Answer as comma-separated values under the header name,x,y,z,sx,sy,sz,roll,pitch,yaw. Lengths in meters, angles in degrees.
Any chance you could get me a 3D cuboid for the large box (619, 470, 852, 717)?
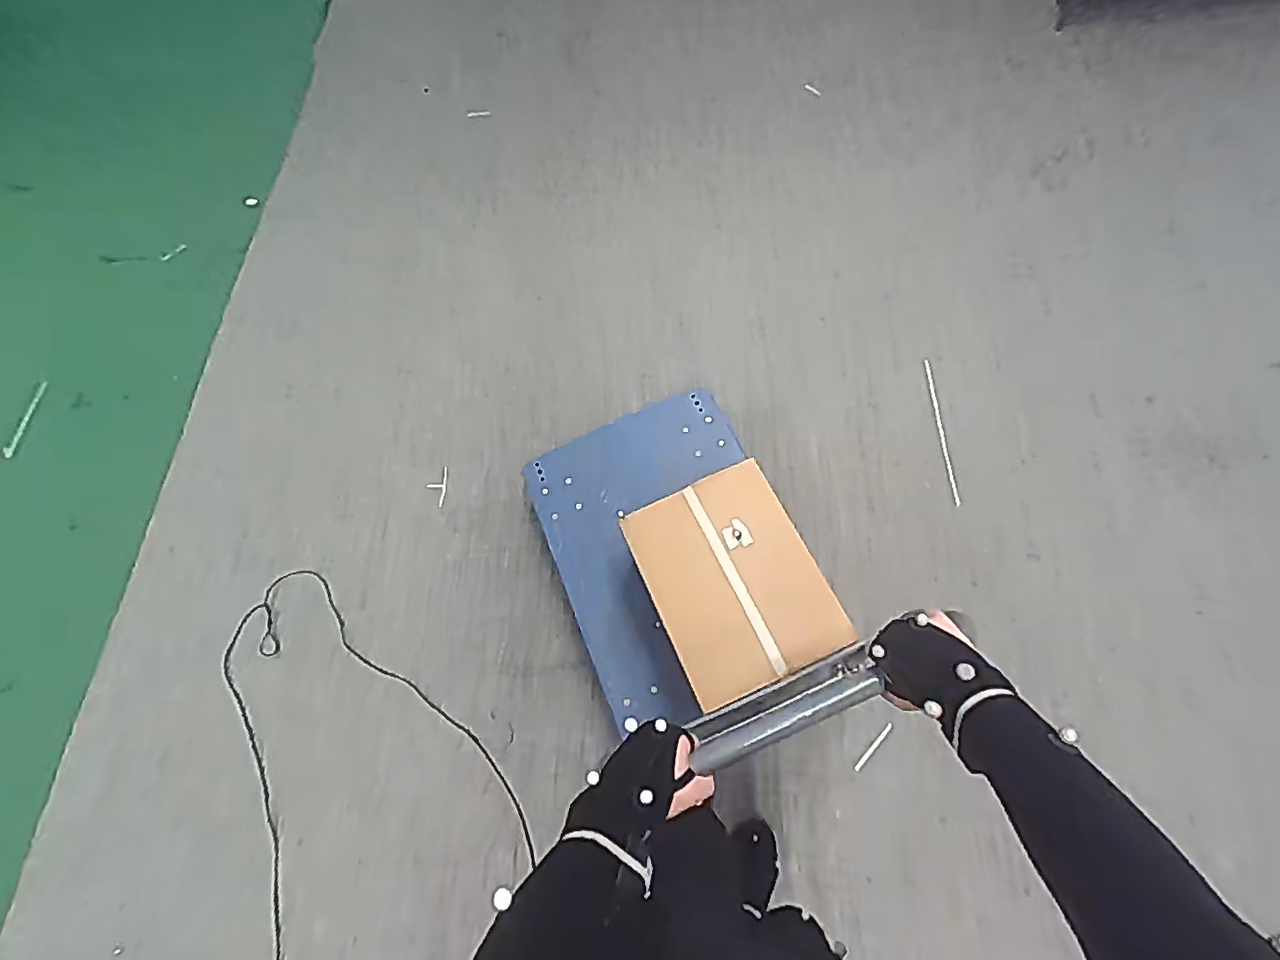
name,x,y,z,sx,sy,sz,roll,pitch,yaw
large box,0.193,0.260,1.194,0.320,0.320,0.408,-24,66,-4
